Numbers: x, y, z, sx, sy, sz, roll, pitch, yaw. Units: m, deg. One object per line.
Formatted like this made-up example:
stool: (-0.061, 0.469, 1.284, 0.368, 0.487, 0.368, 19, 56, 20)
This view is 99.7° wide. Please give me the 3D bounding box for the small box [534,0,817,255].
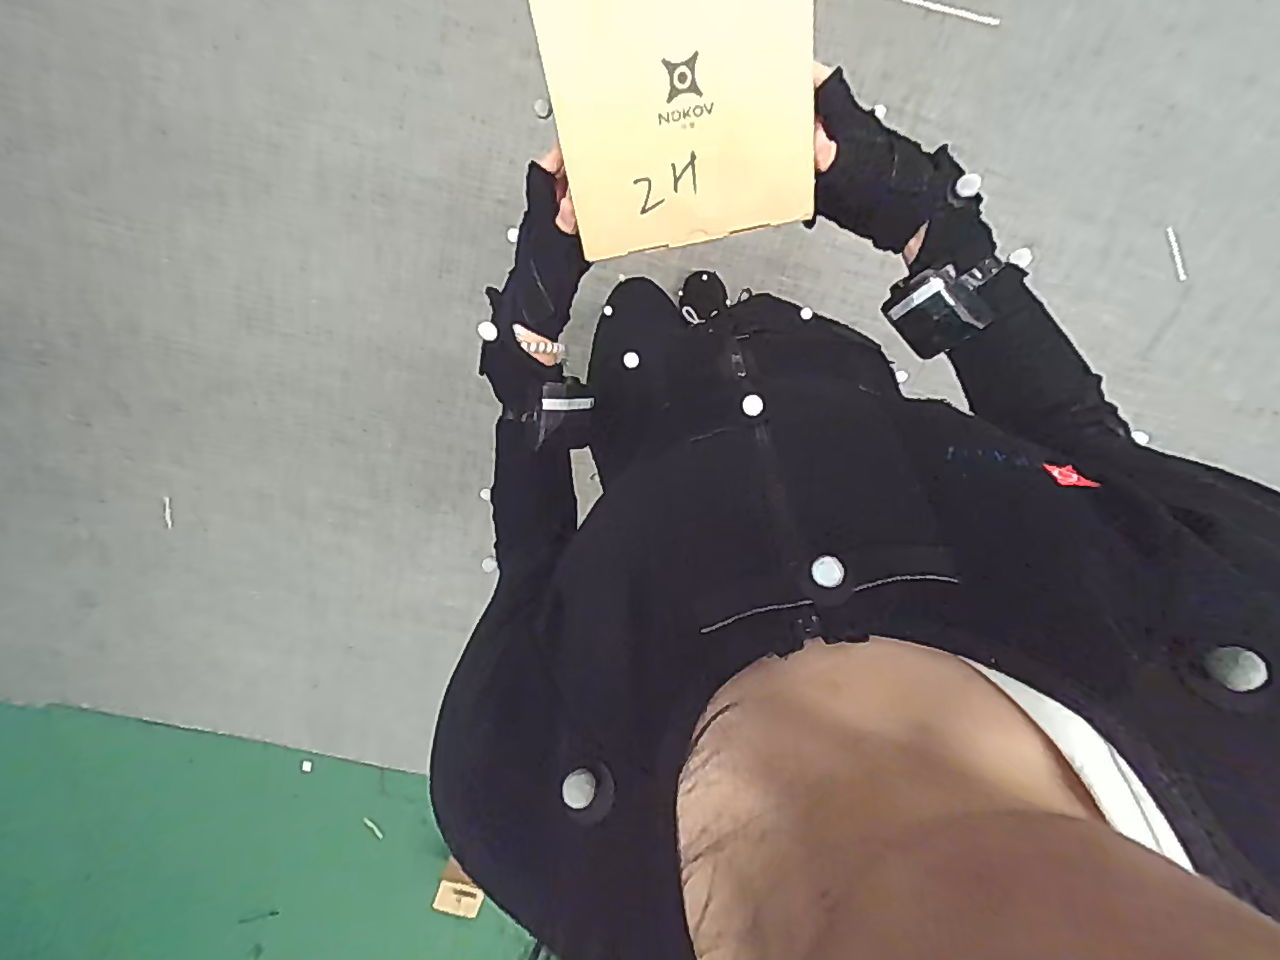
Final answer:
small box: (0.023, -0.284, 0.400, 0.168, 0.176, 0.179, -9, 122, 3)
